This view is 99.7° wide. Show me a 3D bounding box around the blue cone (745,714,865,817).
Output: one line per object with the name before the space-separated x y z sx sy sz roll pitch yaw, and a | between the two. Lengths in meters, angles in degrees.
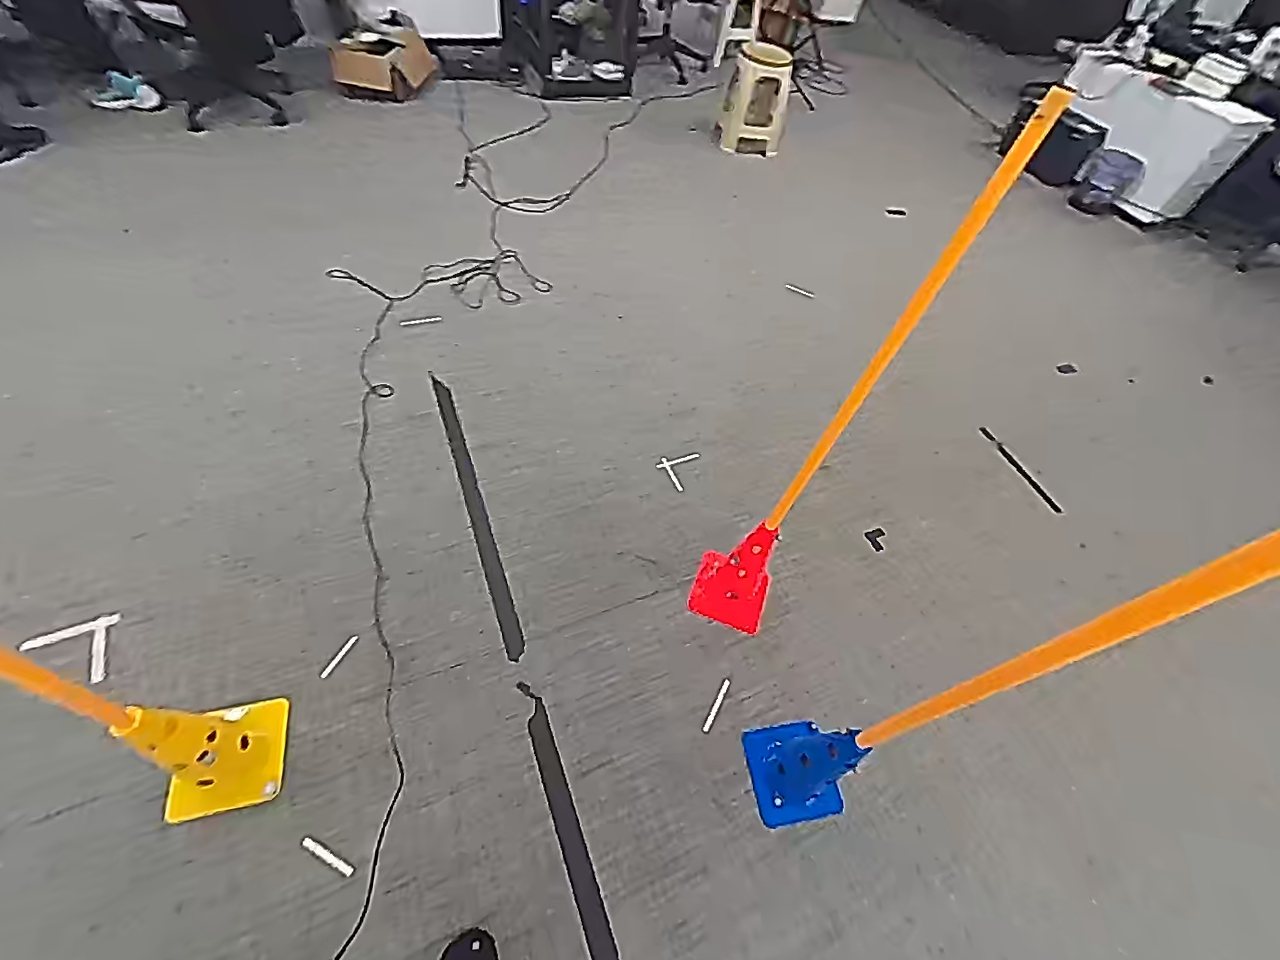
blue cone | 0.370 0.561 1.116 0.193 0.380 0.192 -2 54 -11

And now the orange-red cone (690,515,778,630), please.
orange-red cone | 0.273 0.197 1.350 0.198 0.360 0.199 22 55 8
